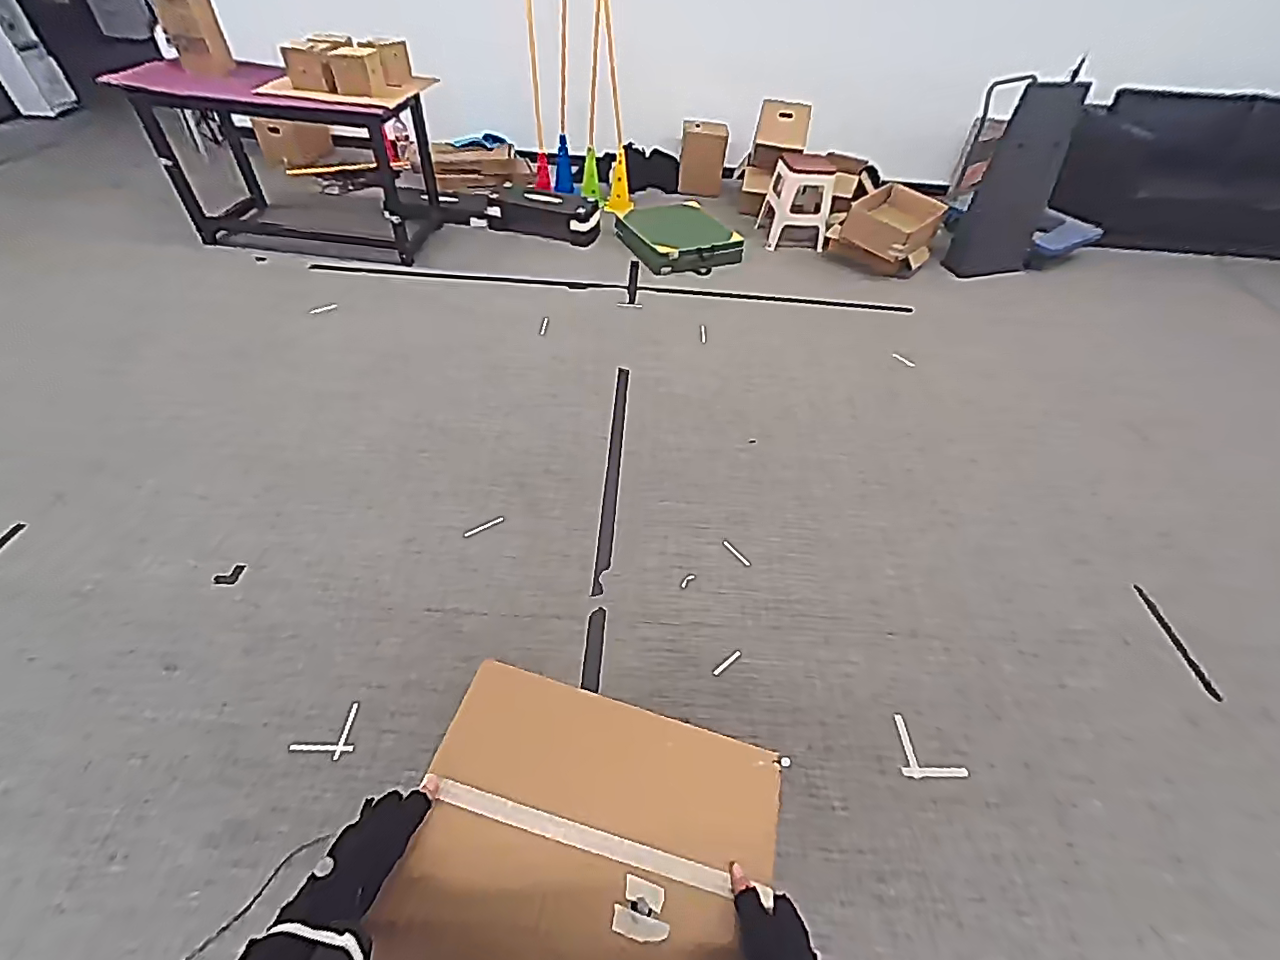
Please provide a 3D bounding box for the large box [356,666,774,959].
[{"bbox_3d":[-0.075,0.506,0.714,0.408,0.320,0.320,17,46,3],"label":"large box"}]
